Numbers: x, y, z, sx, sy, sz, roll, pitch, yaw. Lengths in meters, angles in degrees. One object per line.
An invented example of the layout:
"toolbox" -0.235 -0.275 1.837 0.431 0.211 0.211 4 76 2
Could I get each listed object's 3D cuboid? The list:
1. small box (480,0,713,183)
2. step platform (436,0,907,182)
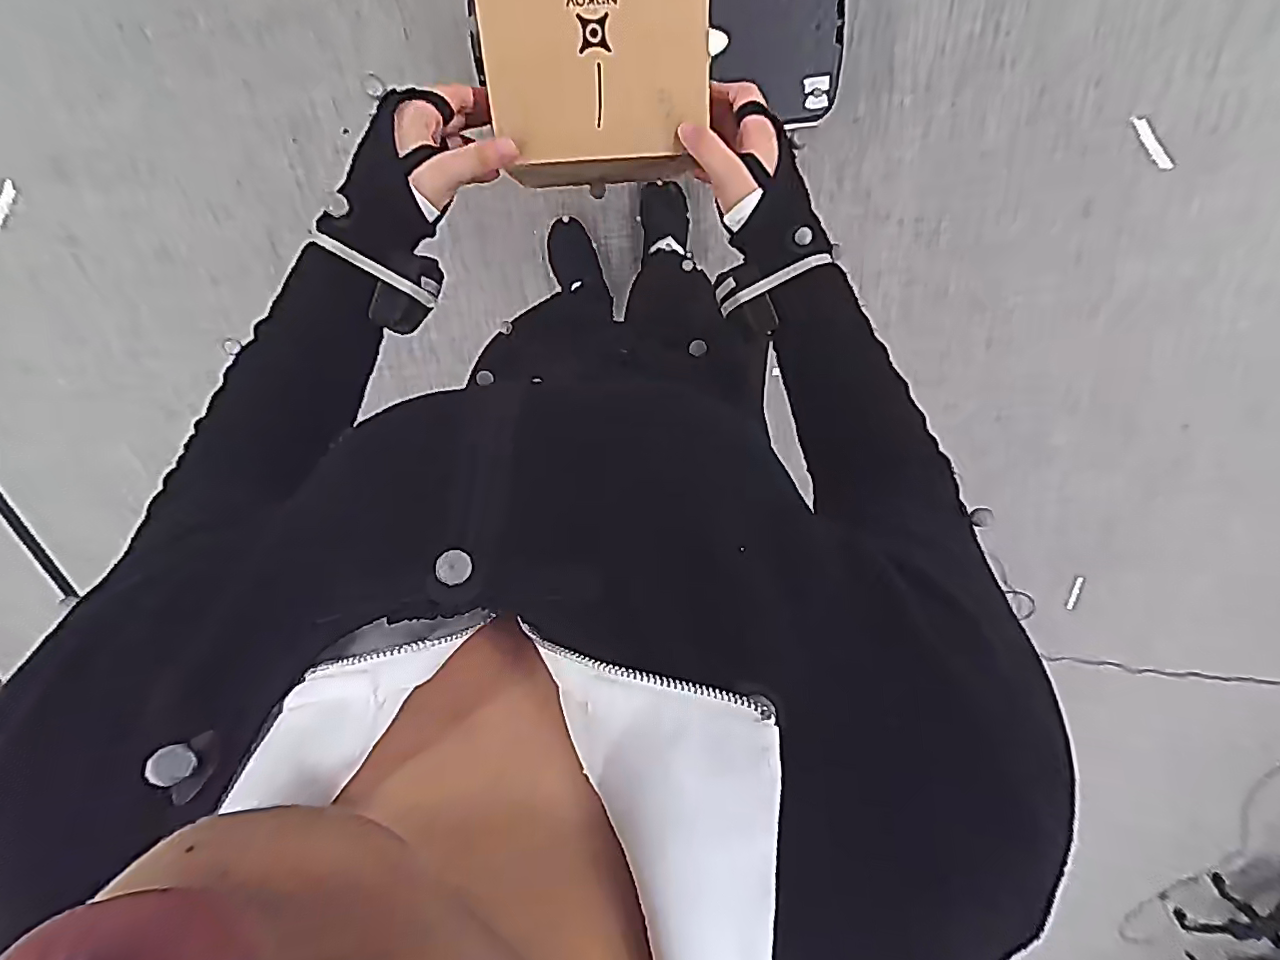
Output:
"small box" -0.036 -0.361 0.453 0.168 0.176 0.179 -5 114 -3
"step platform" 0.046 -0.686 0.873 0.684 0.204 0.286 -7 118 2
